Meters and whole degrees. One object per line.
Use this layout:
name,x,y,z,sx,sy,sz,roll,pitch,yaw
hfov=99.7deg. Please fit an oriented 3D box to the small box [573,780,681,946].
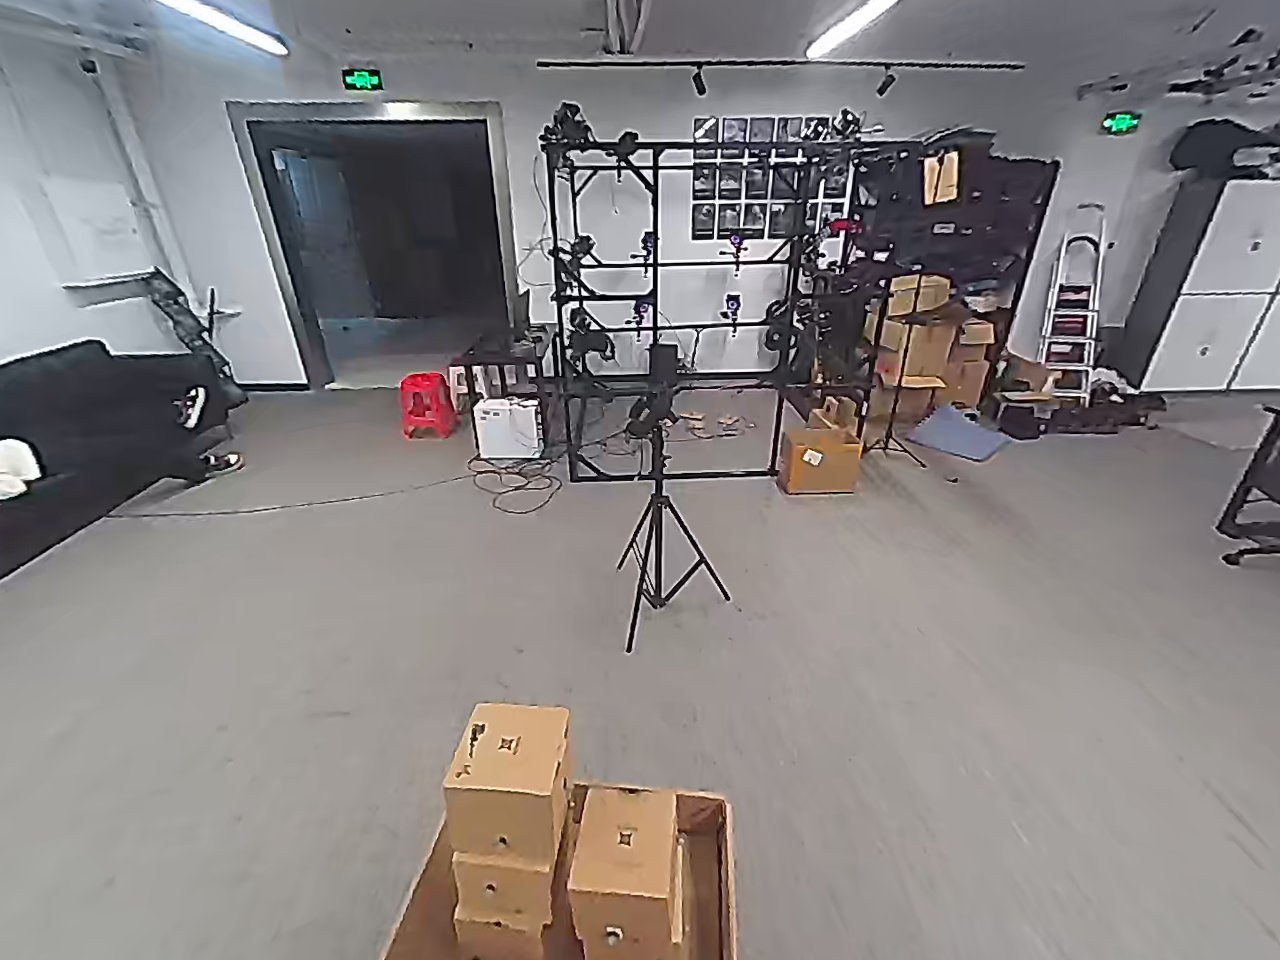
small box,-0.015,0.675,0.963,0.168,0.176,0.179,1,26,8

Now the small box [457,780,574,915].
small box,-0.218,0.661,1.004,0.168,0.176,0.179,5,26,4

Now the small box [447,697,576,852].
small box,-0.211,0.510,0.940,0.179,0.176,0.168,4,26,3
